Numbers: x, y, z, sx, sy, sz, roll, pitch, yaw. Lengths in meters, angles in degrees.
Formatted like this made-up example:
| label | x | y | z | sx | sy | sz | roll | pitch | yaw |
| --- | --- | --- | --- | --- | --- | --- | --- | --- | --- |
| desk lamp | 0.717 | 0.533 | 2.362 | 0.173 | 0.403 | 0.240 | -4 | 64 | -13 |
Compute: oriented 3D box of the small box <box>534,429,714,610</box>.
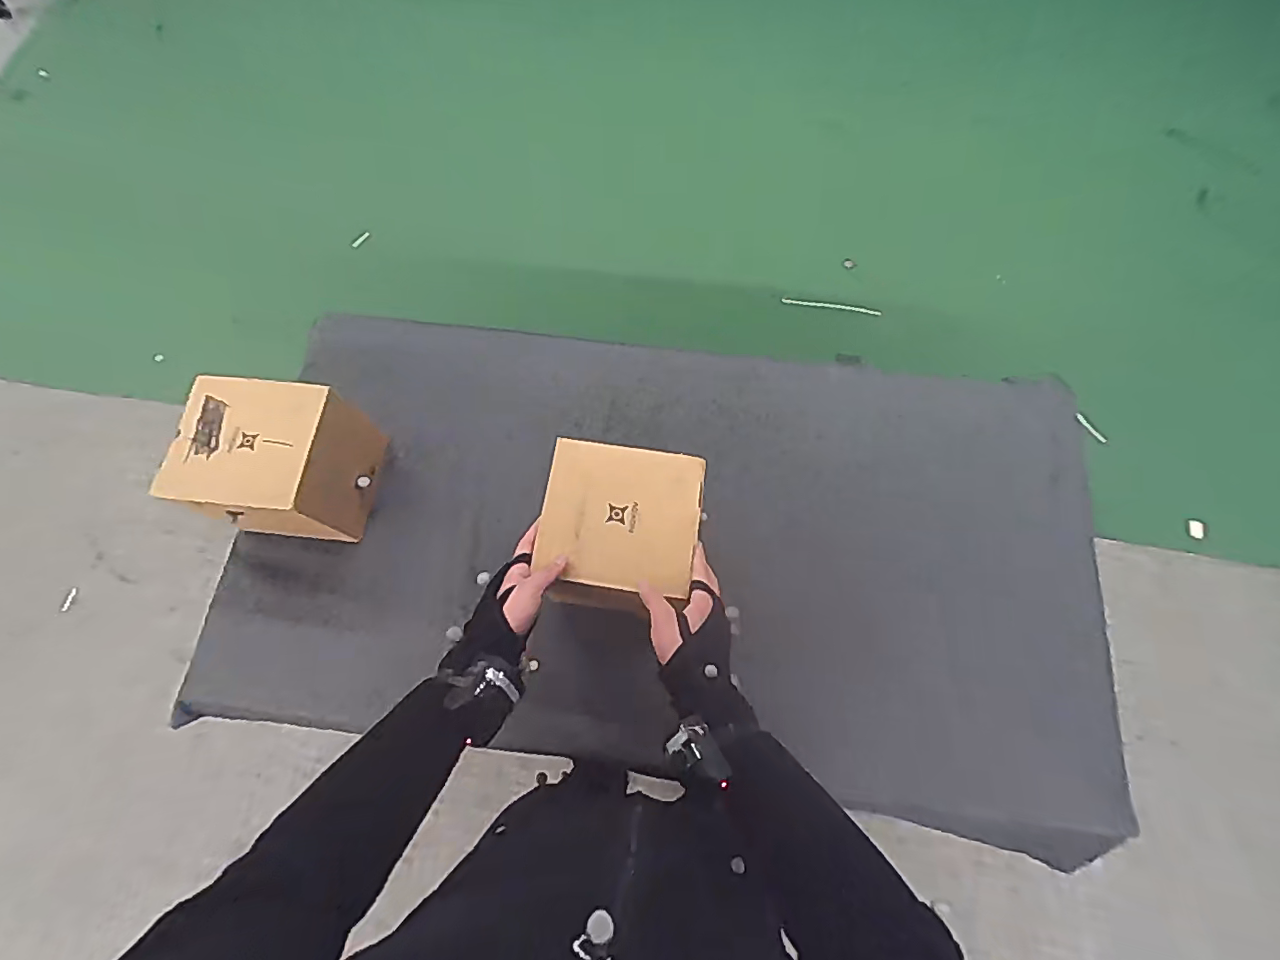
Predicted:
| label | x | y | z | sx | sy | sz | roll | pitch | yaw |
| --- | --- | --- | --- | --- | --- | --- | --- | --- | --- |
| small box | -0.016 | 0.058 | 0.658 | 0.179 | 0.176 | 0.168 | 8 | 68 | 1 |

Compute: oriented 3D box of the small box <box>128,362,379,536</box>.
| label | x | y | z | sx | sy | sz | roll | pitch | yaw |
| --- | --- | --- | --- | --- | --- | --- | --- | --- | --- |
| small box | -0.473 | -0.031 | 0.696 | 0.179 | 0.176 | 0.168 | 6 | 71 | -1 |
